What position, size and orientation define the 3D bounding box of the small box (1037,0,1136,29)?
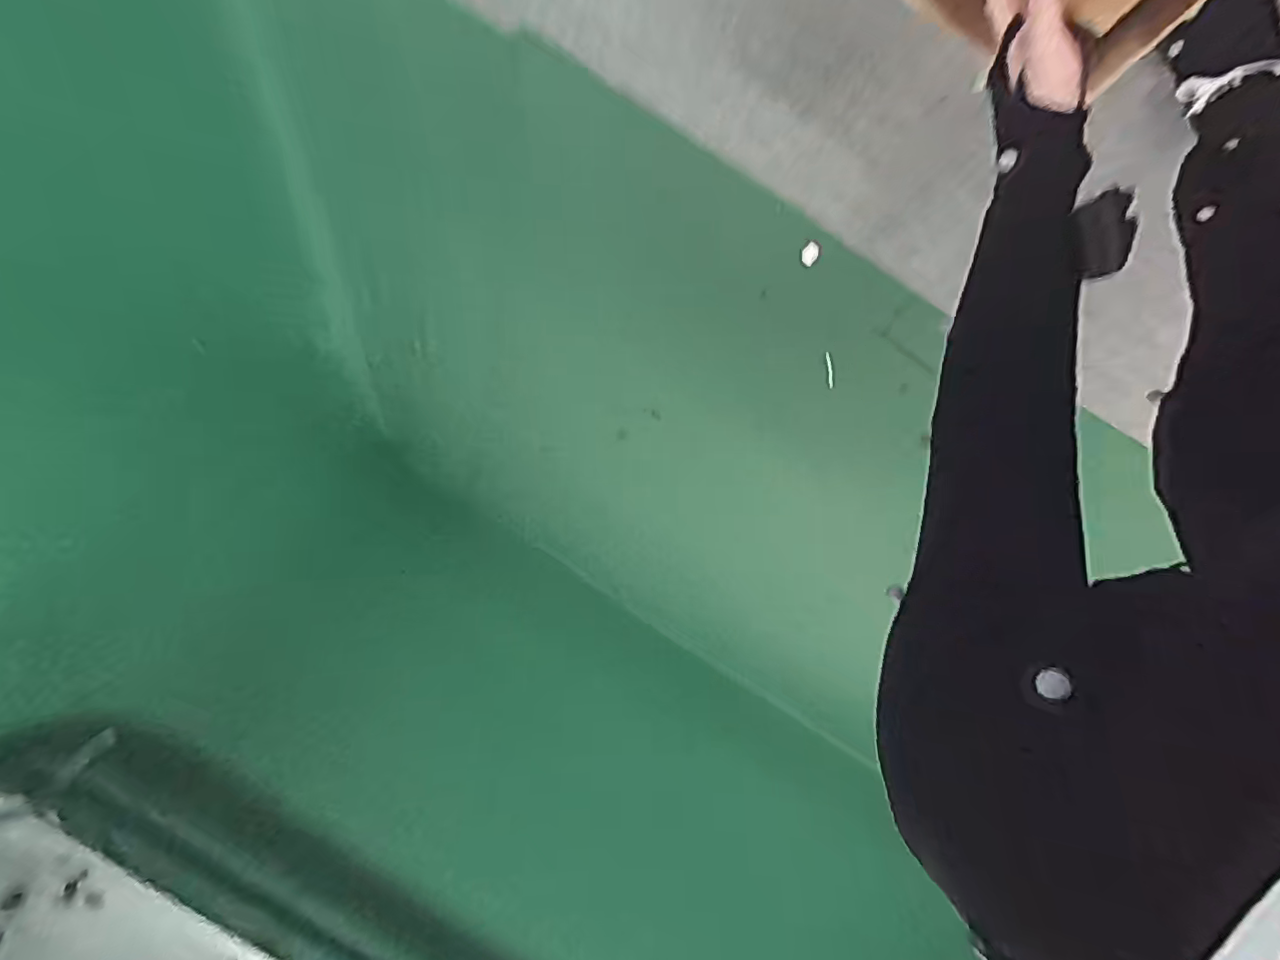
[{"bbox_3d":[0.373,-0.508,0.414,0.179,0.176,0.168,-41,63,56],"label":"small box"}]
